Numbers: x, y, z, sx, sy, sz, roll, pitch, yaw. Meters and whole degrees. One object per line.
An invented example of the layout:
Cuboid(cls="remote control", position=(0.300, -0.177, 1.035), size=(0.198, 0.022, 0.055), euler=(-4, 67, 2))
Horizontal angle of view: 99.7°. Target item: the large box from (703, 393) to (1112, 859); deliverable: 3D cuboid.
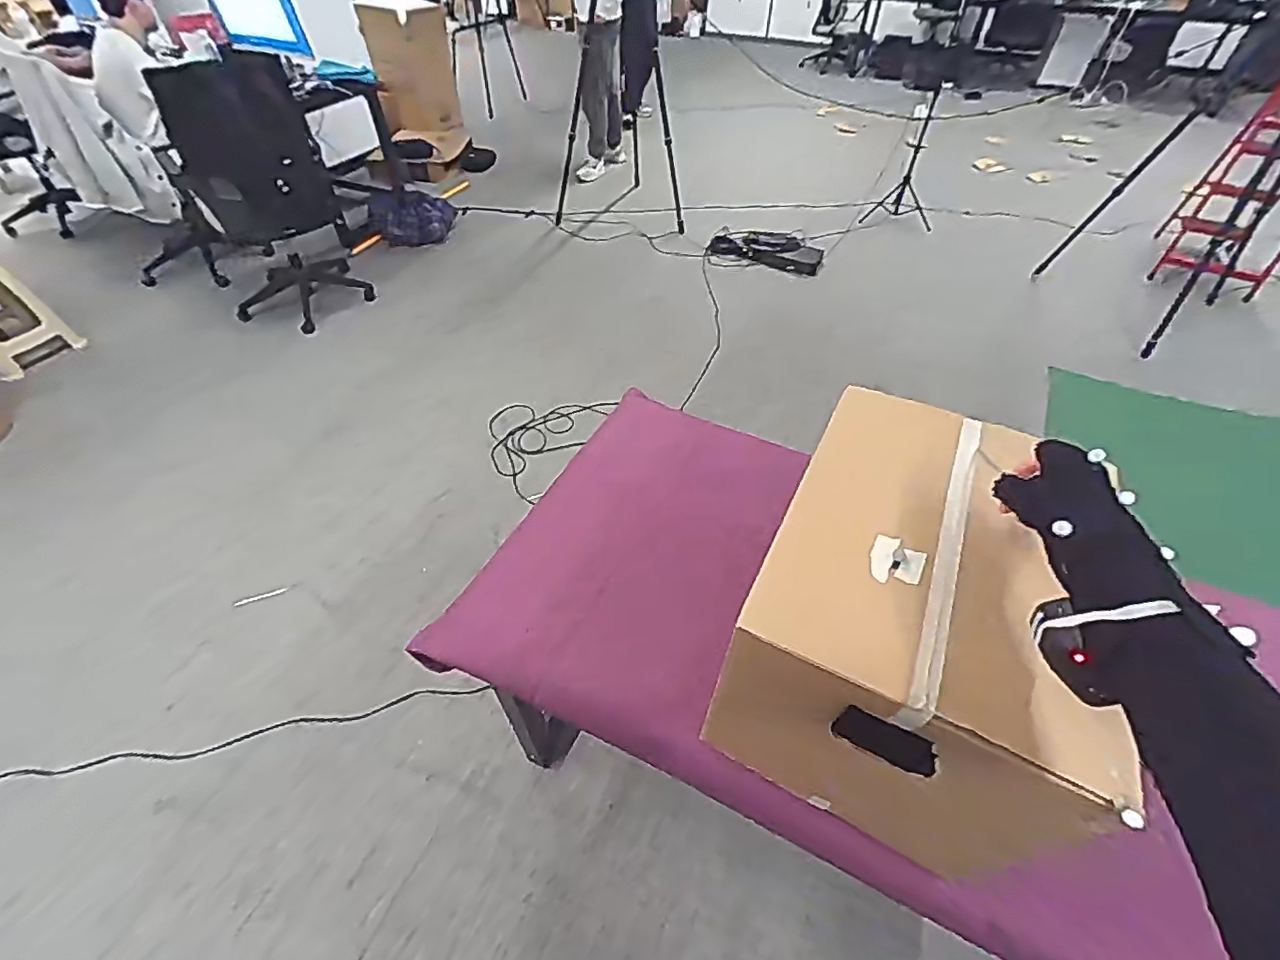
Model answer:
Cuboid(cls="large box", position=(0.309, 0.164, 0.679), size=(0.320, 0.320, 0.408), euler=(23, 52, 18))
